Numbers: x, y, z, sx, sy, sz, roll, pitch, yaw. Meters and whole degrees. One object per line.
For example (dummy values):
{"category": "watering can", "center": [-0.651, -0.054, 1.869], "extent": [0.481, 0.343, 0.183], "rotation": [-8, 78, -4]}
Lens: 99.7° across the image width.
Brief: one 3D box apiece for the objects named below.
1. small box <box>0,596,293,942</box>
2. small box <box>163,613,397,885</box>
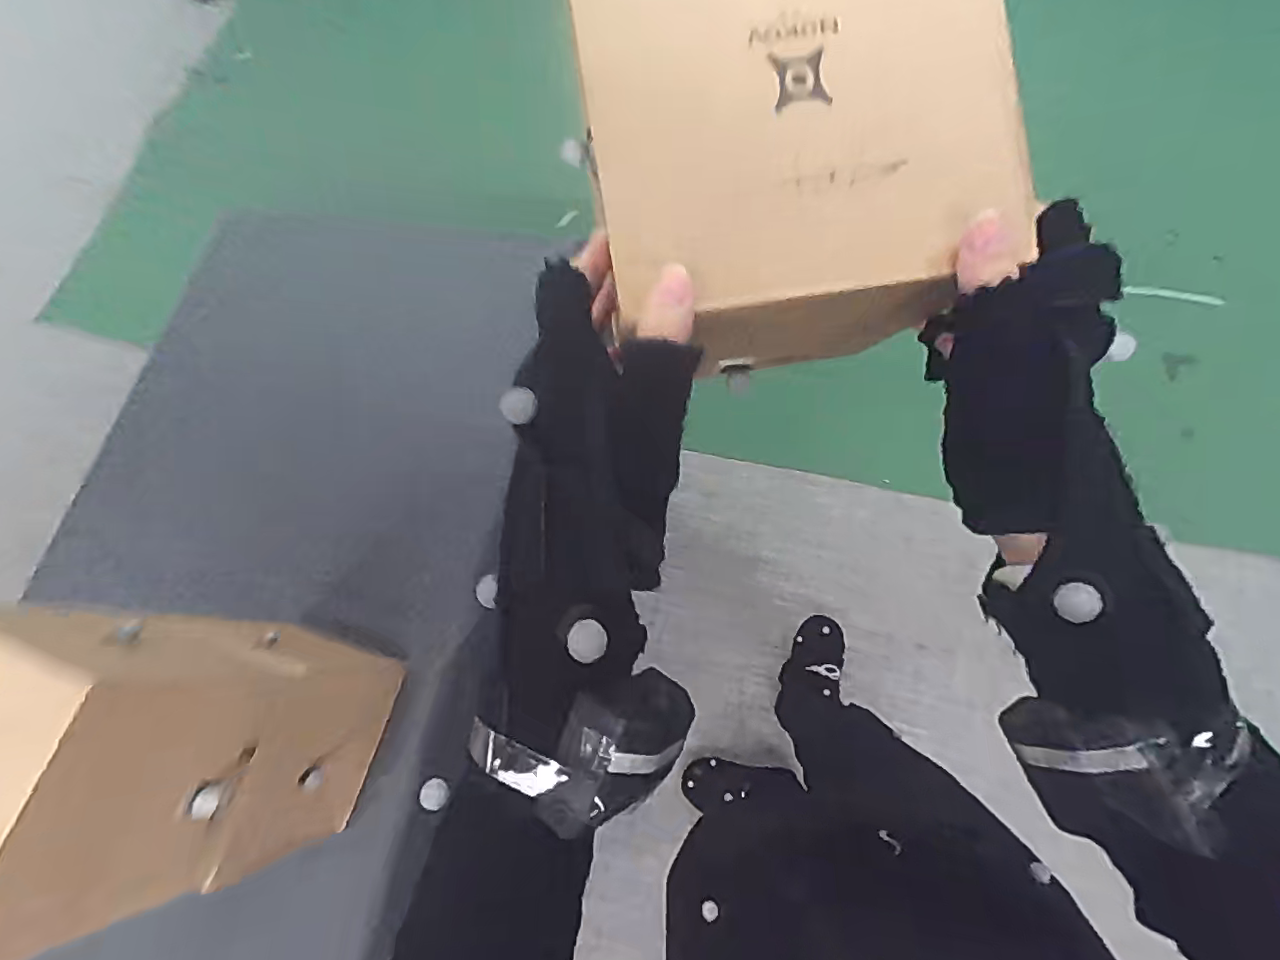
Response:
{"category": "small box", "center": [-0.409, 0.191, 0.388], "extent": [0.179, 0.176, 0.168], "rotation": [15, 74, 13]}
{"category": "small box", "center": [-0.380, 0.246, 0.541], "extent": [0.168, 0.176, 0.179], "rotation": [14, 75, 13]}
